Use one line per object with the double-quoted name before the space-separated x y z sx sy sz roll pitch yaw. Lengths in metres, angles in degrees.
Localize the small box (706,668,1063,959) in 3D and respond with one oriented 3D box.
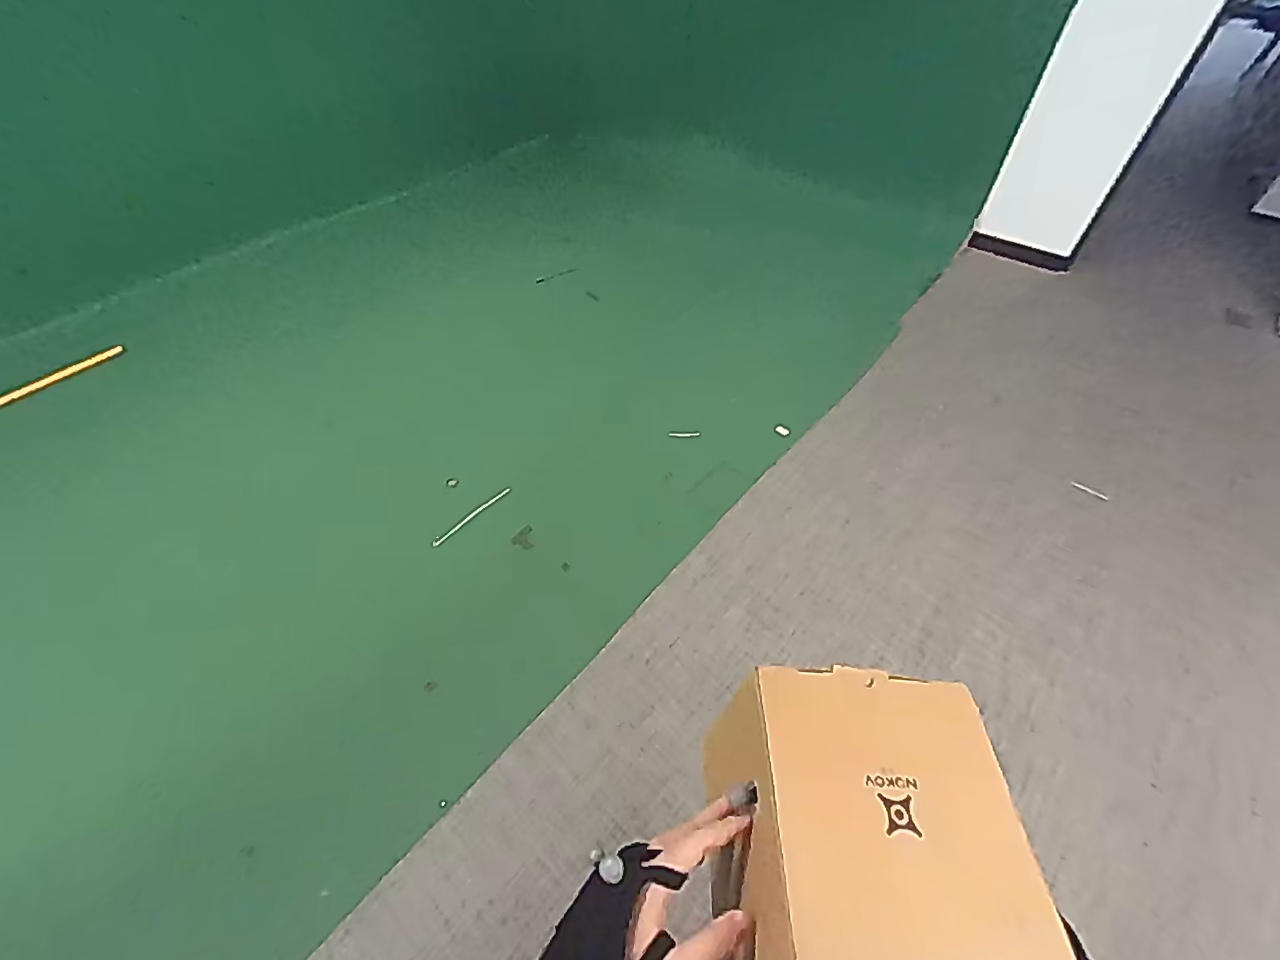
"small box" 0.150 0.265 0.405 0.168 0.176 0.179 7 46 -5
